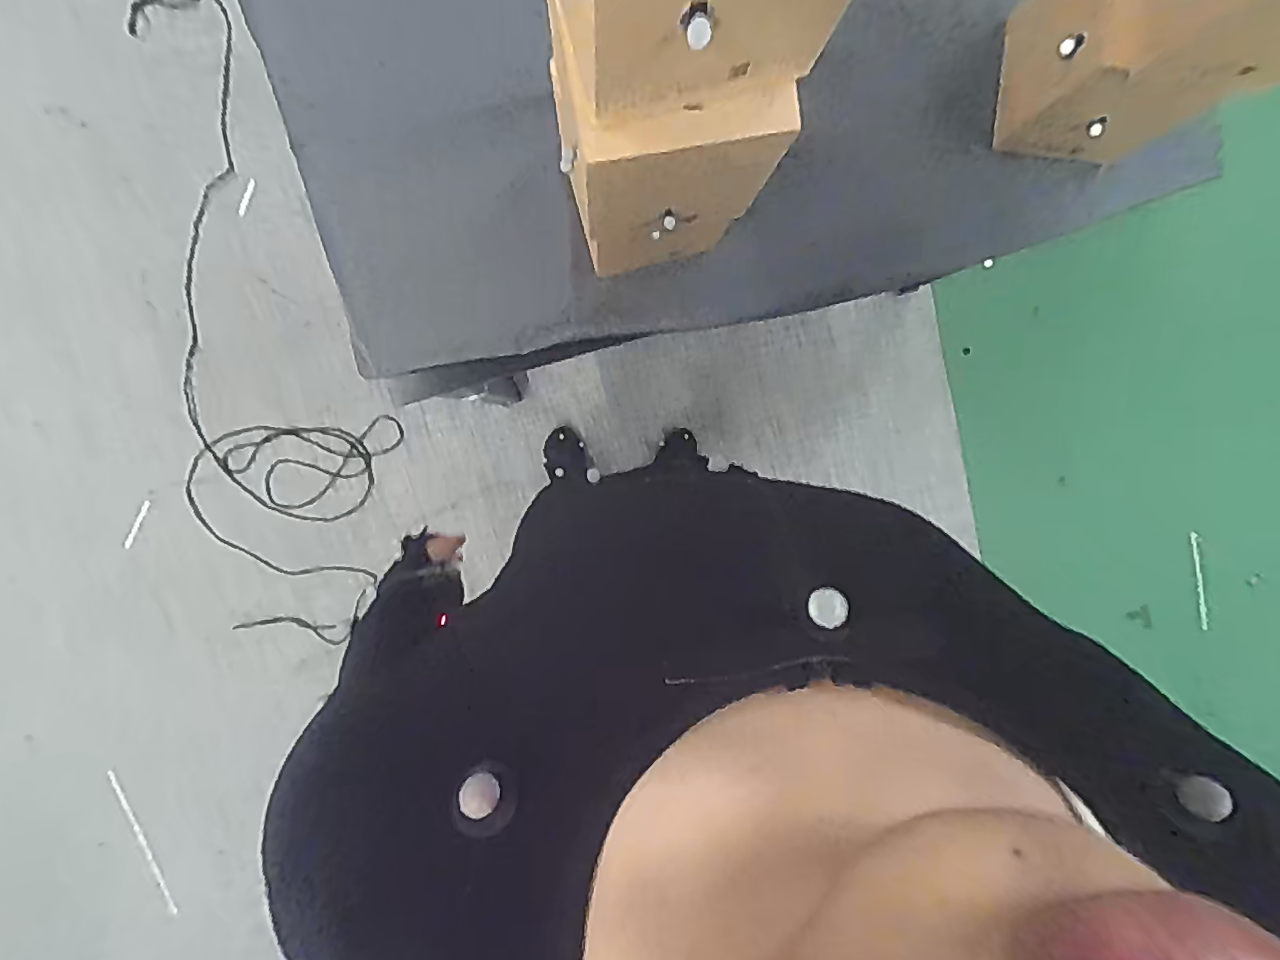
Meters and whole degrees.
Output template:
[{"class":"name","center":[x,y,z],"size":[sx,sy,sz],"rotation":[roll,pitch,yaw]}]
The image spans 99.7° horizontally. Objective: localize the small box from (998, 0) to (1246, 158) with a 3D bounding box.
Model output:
[{"class":"small box","center":[0.563,-0.514,0.639],"size":[0.168,0.176,0.179],"rotation":[4,94,-4]}]

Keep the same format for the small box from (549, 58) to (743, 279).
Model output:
[{"class":"small box","center":[0.002,-0.359,0.627],"size":[0.168,0.176,0.179],"rotation":[-16,96,-2]}]

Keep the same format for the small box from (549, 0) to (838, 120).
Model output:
[{"class":"small box","center":[0.023,-0.338,0.300],"size":[0.168,0.176,0.179],"rotation":[-16,96,-2]}]
